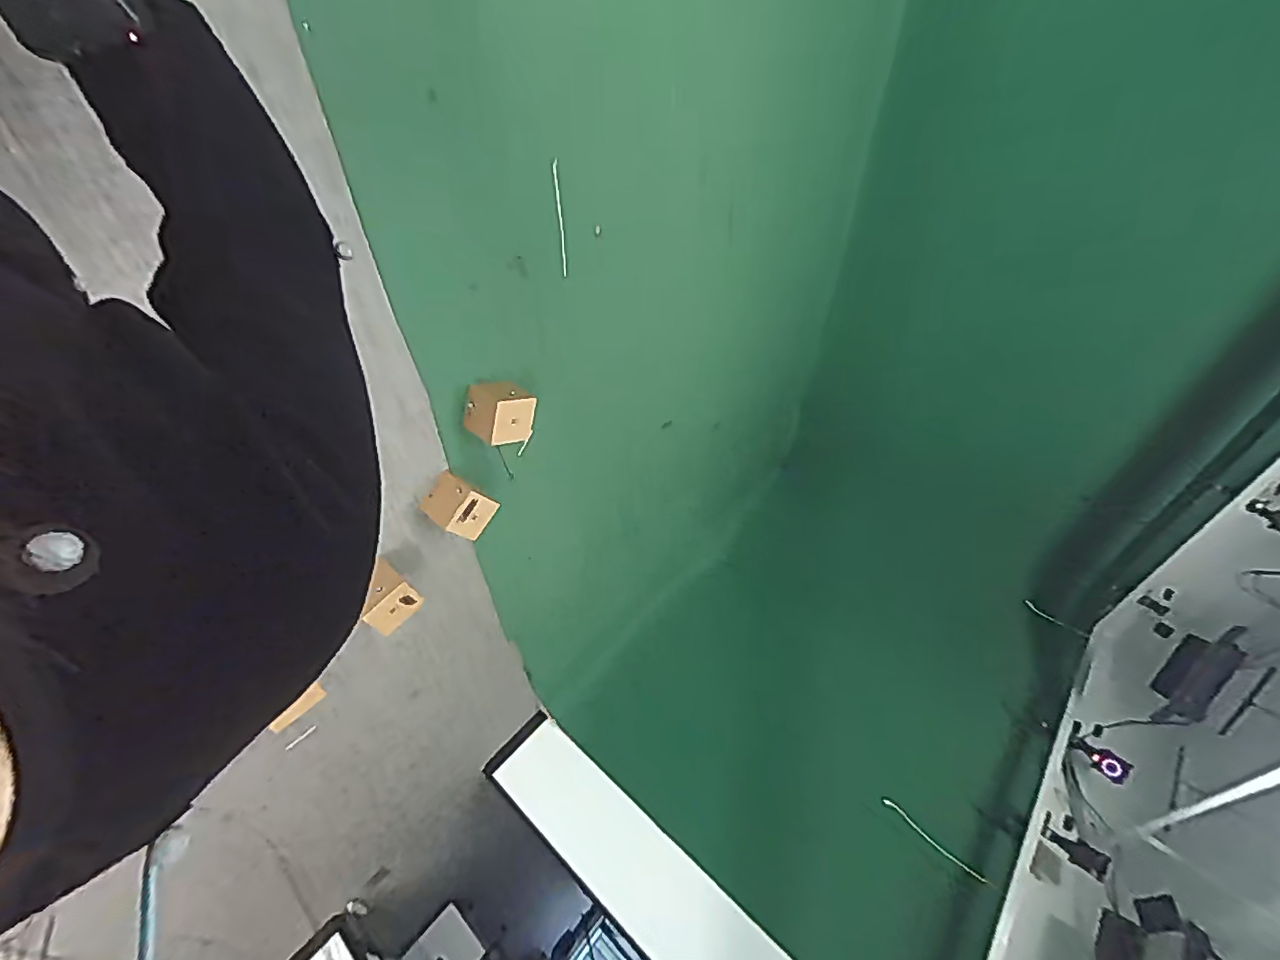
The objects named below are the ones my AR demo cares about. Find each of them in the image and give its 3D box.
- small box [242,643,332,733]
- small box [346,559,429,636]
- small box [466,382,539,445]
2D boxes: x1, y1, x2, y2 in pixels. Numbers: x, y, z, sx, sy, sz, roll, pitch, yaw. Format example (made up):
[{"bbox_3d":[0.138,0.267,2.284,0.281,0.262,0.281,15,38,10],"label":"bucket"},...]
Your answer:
[{"bbox_3d":[-1.152,0.672,1.758,0.179,0.176,0.168,-38,146,-33],"label":"small box"},{"bbox_3d":[-0.894,0.410,1.912,0.179,0.176,0.168,-45,148,-22],"label":"small box"},{"bbox_3d":[-0.492,-0.243,1.928,0.179,0.176,0.168,-17,131,-50],"label":"small box"}]
